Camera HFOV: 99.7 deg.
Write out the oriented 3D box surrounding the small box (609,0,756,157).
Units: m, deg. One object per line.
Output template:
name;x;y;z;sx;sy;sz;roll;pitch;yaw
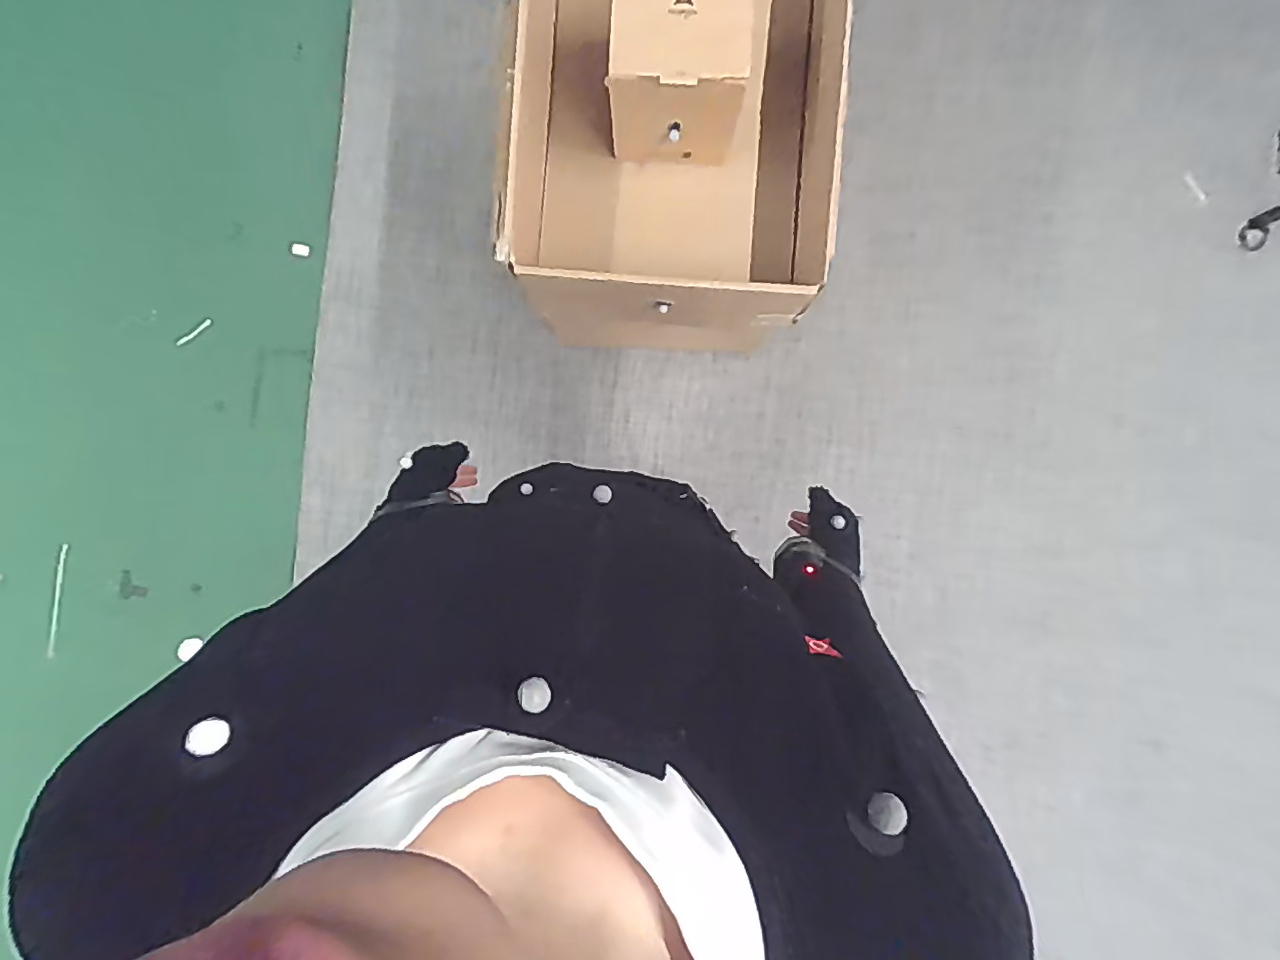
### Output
small box;0.054;-0.549;0.698;0.168;0.176;0.179;4;91;1
